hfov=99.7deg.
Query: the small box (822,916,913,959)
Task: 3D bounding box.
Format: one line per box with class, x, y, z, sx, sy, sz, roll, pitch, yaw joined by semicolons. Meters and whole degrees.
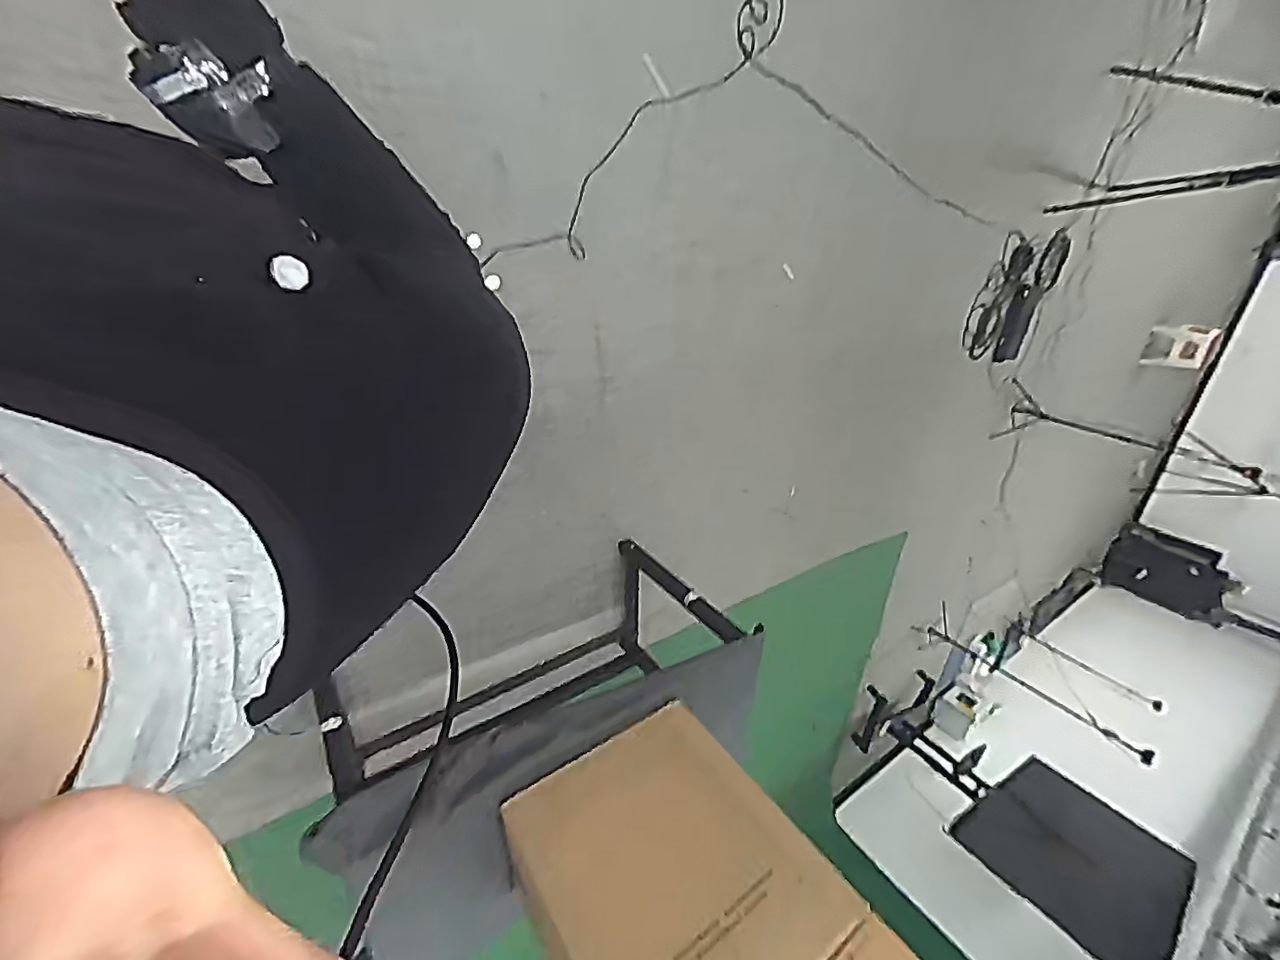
small box;0.443;0.997;1.037;0.168;0.176;0.179;-20;123;-31
